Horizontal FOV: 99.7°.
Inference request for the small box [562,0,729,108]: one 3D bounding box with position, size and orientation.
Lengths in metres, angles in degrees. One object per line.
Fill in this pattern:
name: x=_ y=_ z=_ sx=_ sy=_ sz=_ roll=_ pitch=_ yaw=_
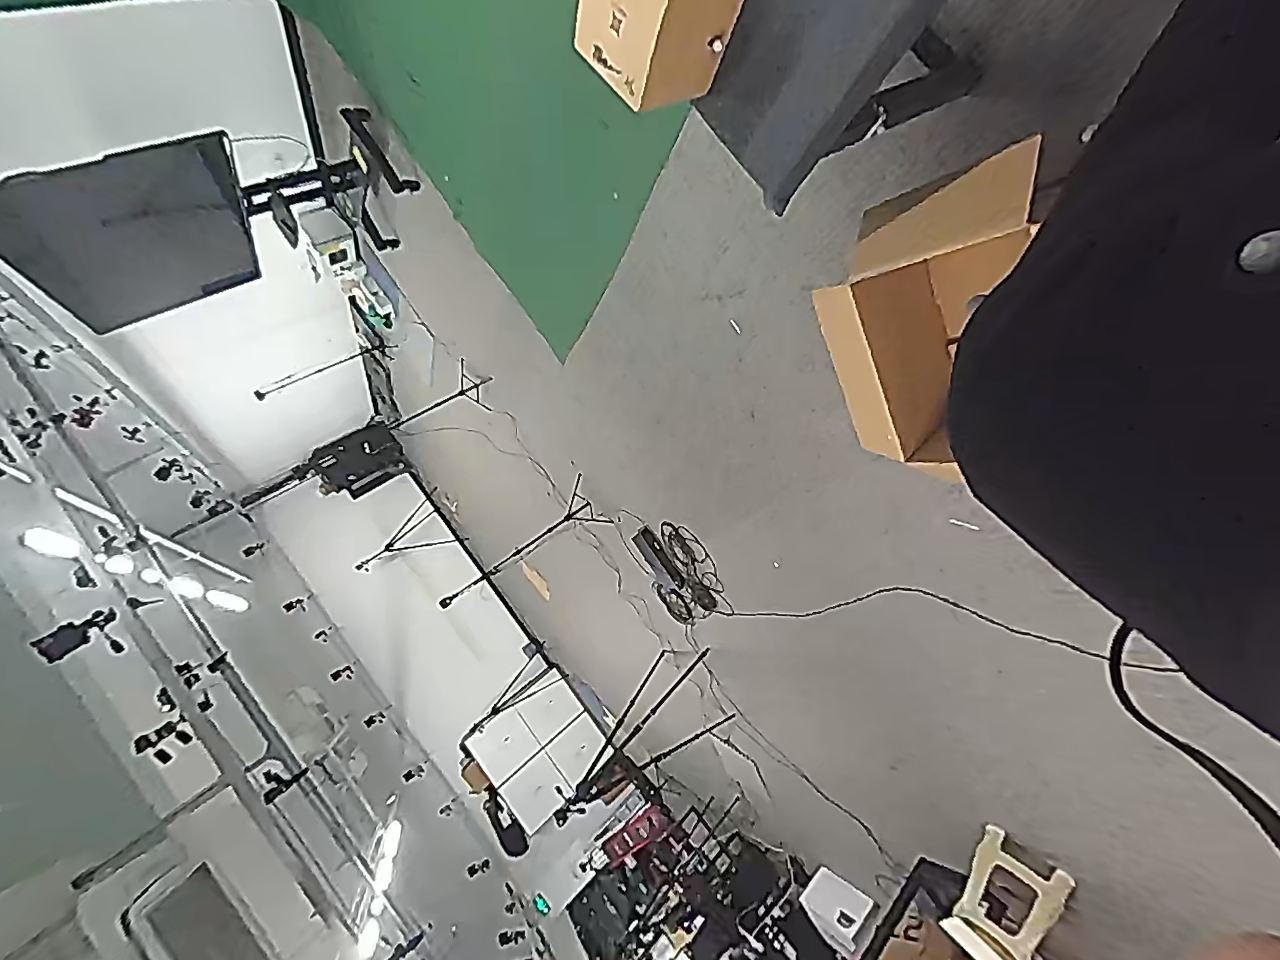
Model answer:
small box: x=0.011 y=-0.710 z=0.810 sx=0.168 sy=0.176 sz=0.179 roll=50 pitch=152 yaw=7
